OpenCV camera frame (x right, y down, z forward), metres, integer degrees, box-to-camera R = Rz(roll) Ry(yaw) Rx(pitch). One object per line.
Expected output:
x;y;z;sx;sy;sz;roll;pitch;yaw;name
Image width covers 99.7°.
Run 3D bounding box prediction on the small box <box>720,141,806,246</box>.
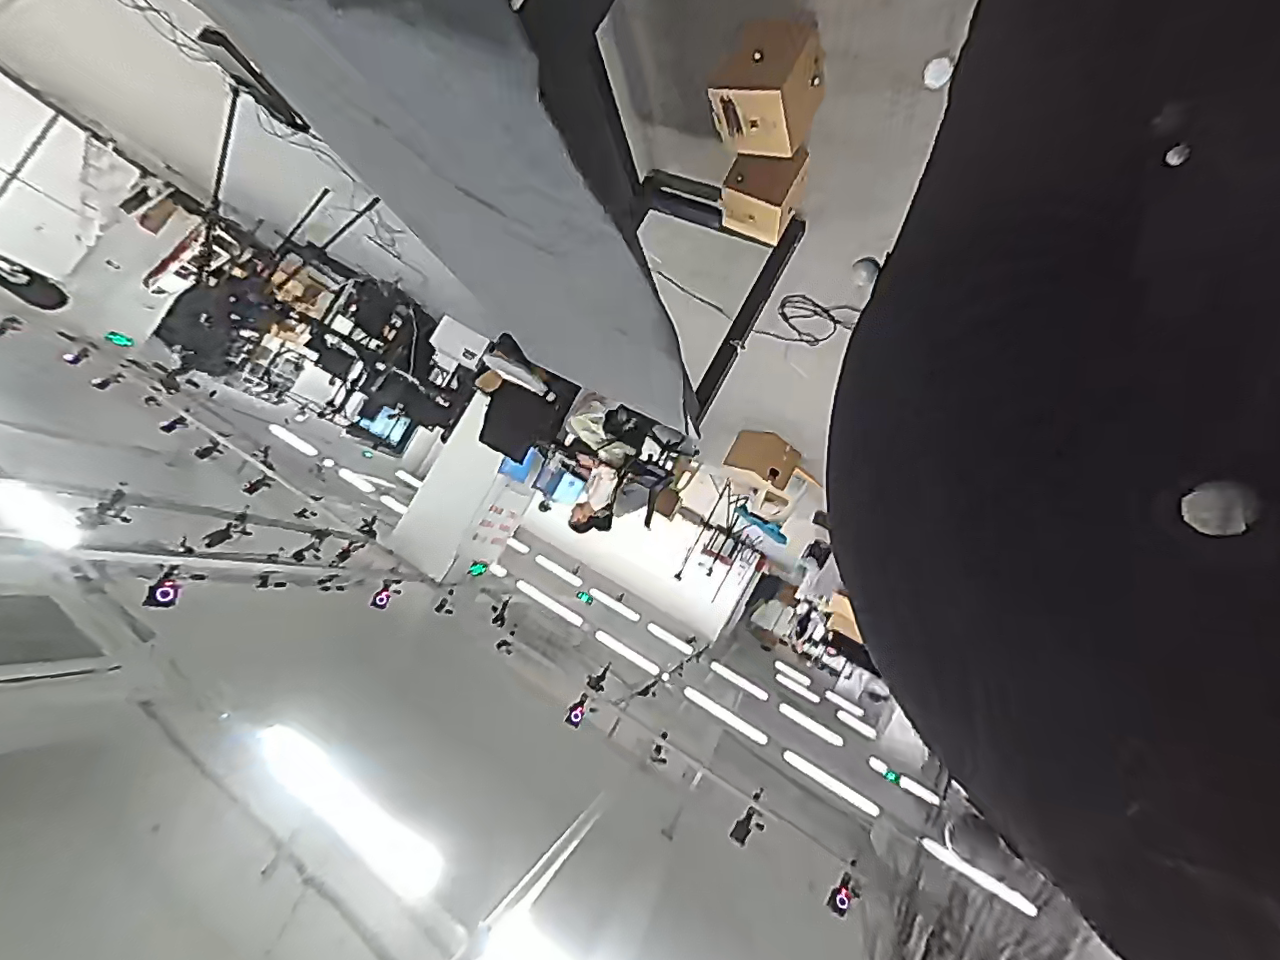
0.336;-0.789;1.487;0.179;0.176;0.168;28;175;13;small box
